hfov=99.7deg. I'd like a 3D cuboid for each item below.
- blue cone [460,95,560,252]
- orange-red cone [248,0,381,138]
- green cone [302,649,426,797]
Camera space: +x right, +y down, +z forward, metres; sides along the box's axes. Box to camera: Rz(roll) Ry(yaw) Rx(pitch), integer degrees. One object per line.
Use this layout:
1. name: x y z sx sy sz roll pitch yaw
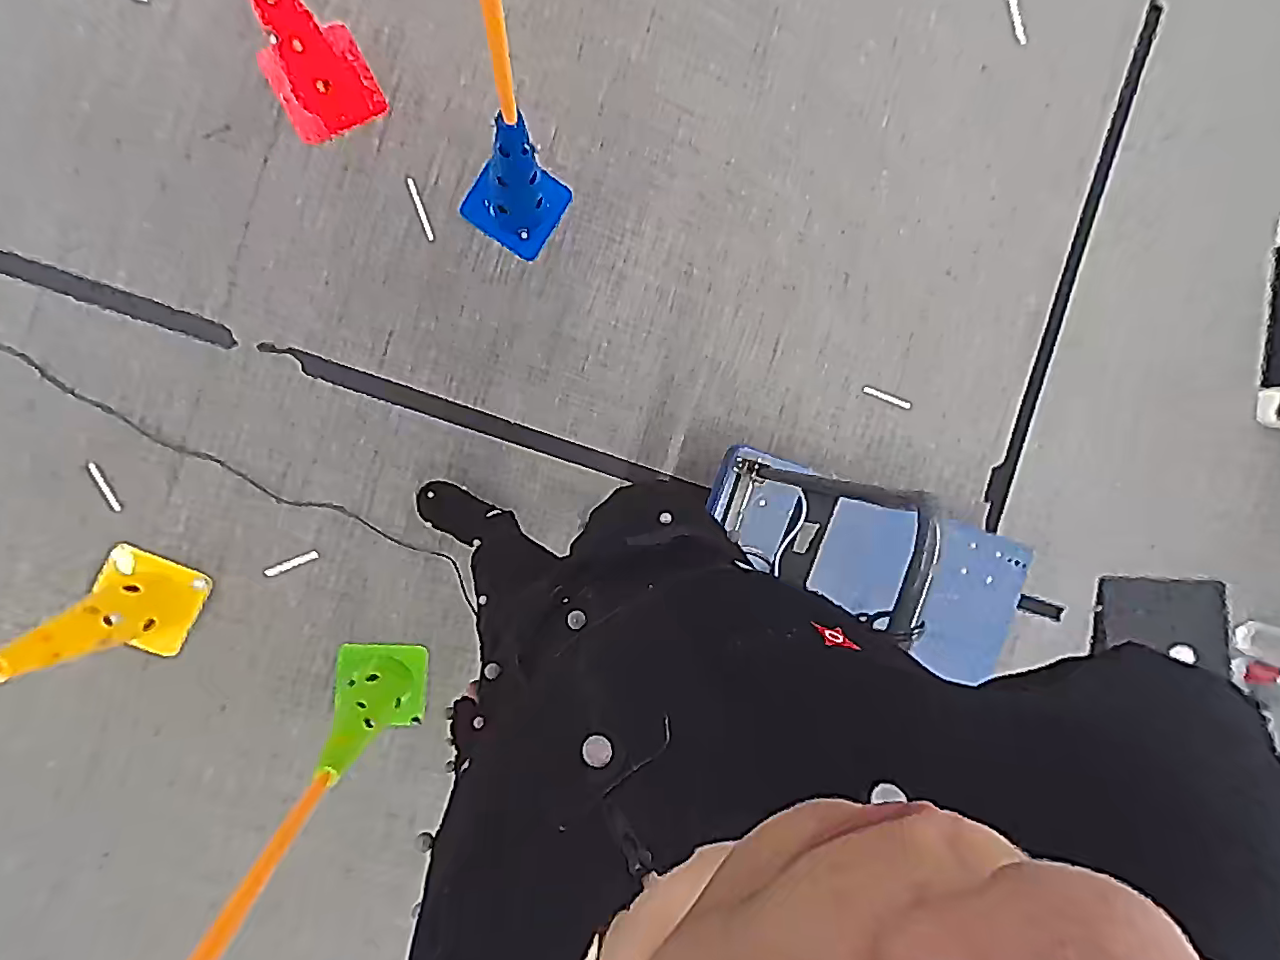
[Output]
1. blue cone: -0.266 -0.632 1.084 0.192 0.380 0.193 33 88 -11
2. orange-red cone: -0.647 -0.835 0.980 0.198 0.360 0.199 -28 100 -7
3. green cone: -0.581 0.506 1.099 0.202 0.368 0.200 4 94 -10
